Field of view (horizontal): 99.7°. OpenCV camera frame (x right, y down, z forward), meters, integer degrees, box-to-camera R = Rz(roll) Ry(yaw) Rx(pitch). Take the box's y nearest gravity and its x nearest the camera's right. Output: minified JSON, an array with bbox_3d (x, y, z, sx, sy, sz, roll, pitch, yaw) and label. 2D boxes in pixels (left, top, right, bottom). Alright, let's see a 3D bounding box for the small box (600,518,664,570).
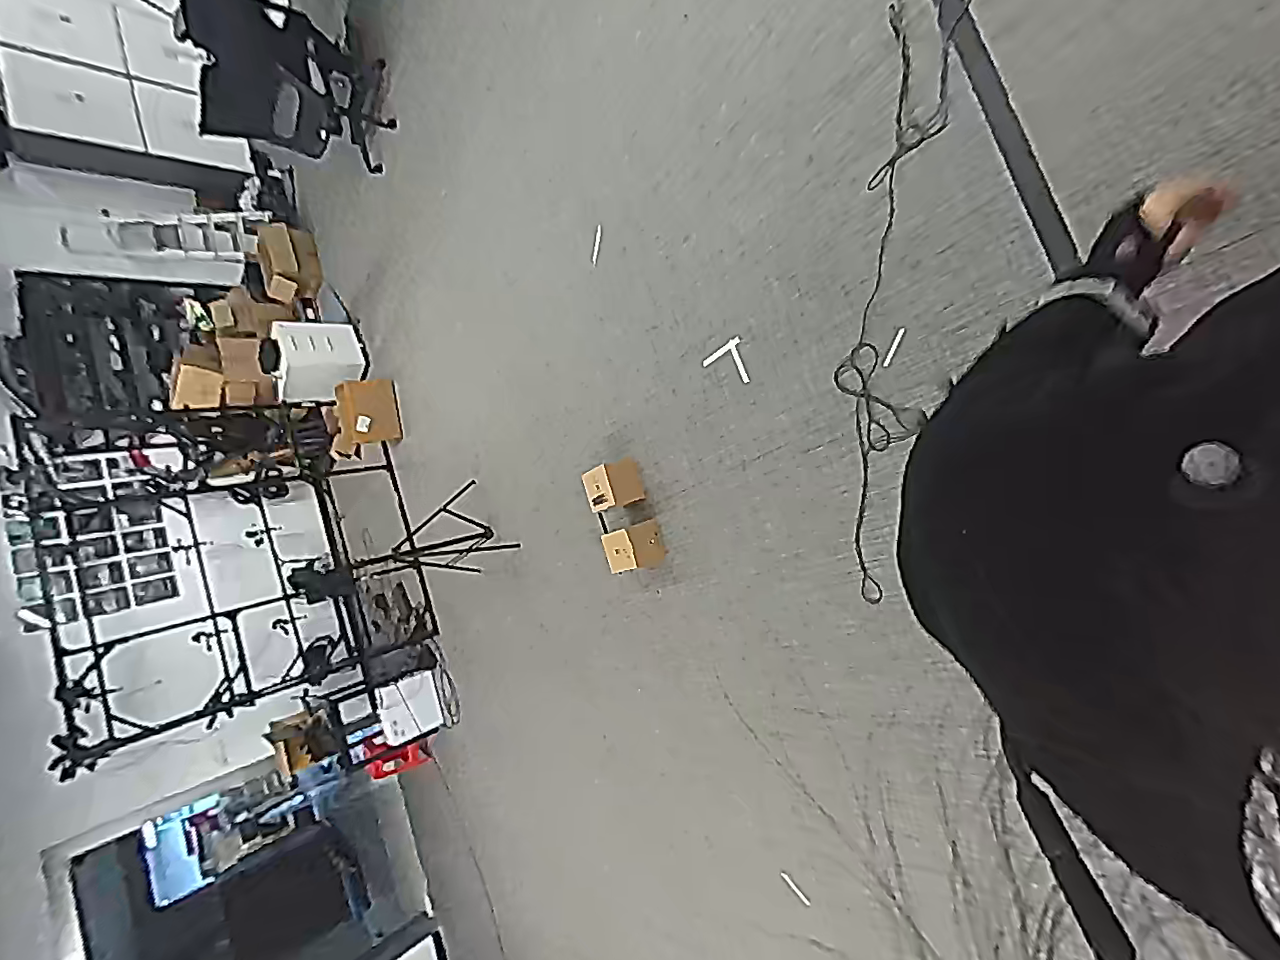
[{"bbox_3d":[-0.031,0.264,2.231,0.179,0.176,0.168,-22,83,47],"label":"small box"}]
